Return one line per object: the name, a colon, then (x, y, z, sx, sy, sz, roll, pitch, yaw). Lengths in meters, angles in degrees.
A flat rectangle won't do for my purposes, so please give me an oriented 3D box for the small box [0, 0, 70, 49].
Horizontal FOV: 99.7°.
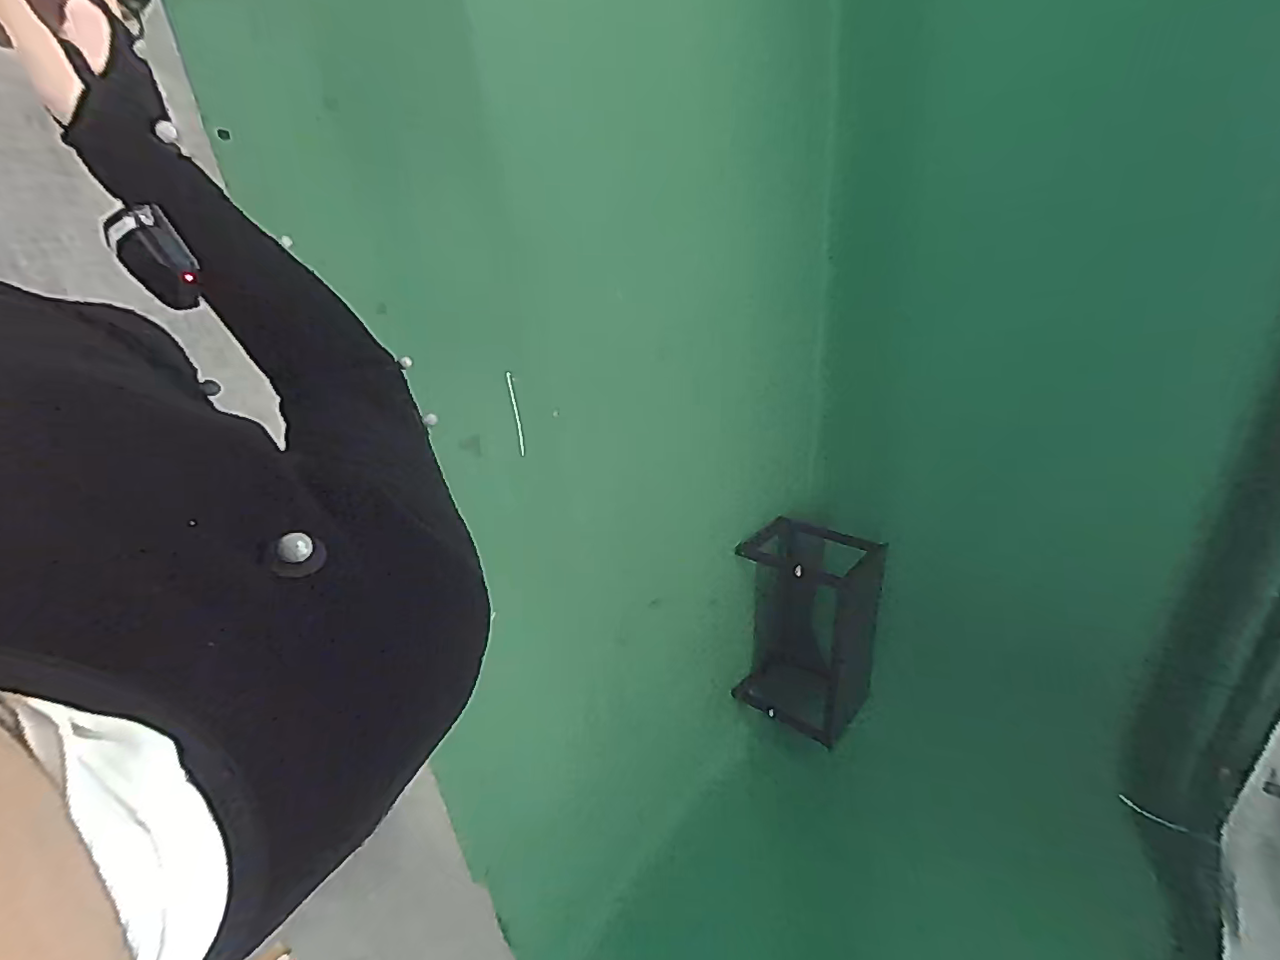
small box: (-0.531, -0.447, 0.371, 0.168, 0.176, 0.179, -13, 114, -41)
